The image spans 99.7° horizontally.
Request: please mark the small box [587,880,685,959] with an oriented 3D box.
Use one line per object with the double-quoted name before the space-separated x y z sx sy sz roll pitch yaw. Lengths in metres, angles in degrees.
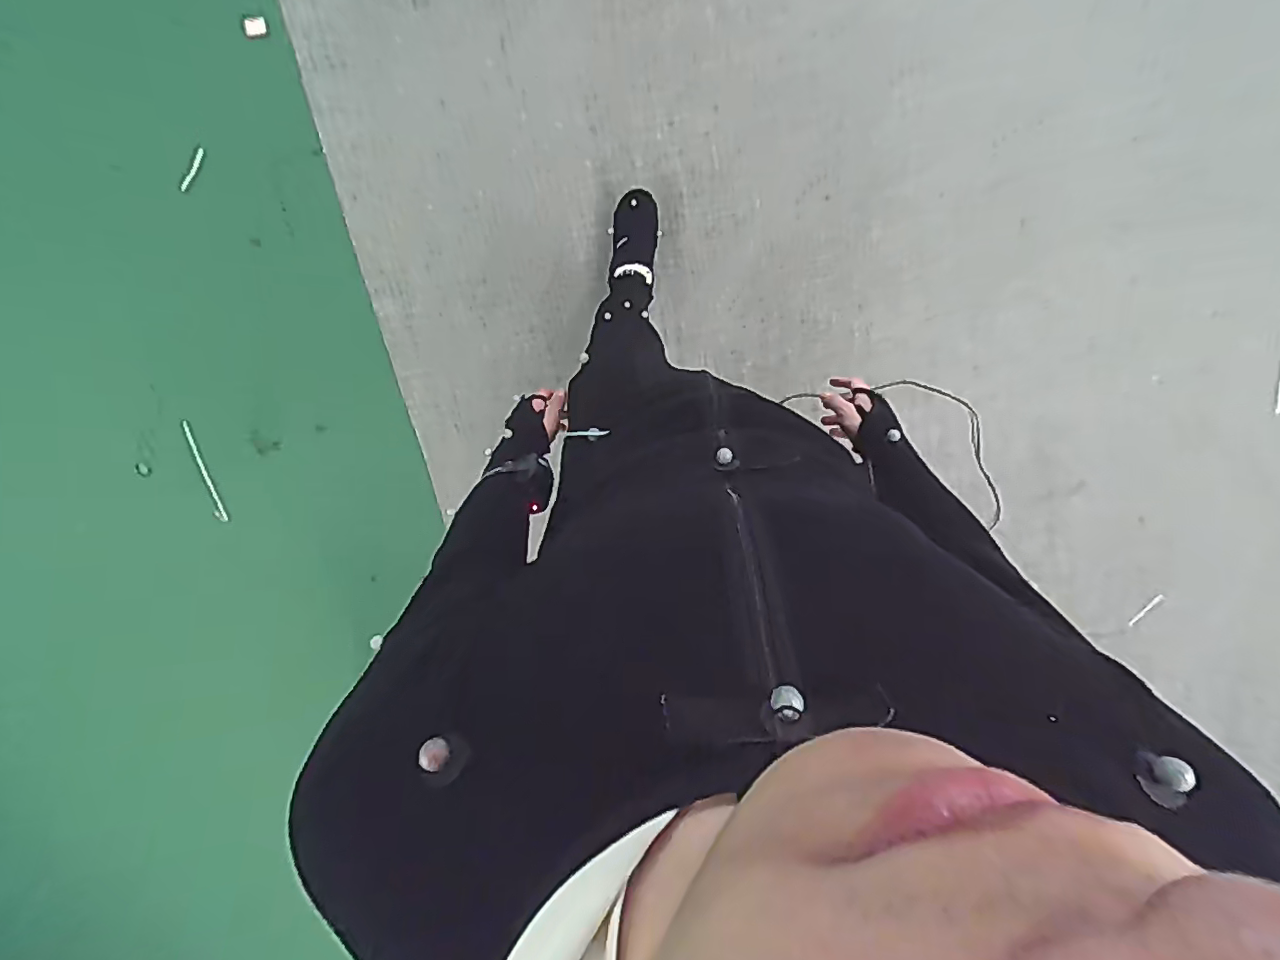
"small box" -0.003 0.958 1.097 0.179 0.176 0.168 -11 108 3
